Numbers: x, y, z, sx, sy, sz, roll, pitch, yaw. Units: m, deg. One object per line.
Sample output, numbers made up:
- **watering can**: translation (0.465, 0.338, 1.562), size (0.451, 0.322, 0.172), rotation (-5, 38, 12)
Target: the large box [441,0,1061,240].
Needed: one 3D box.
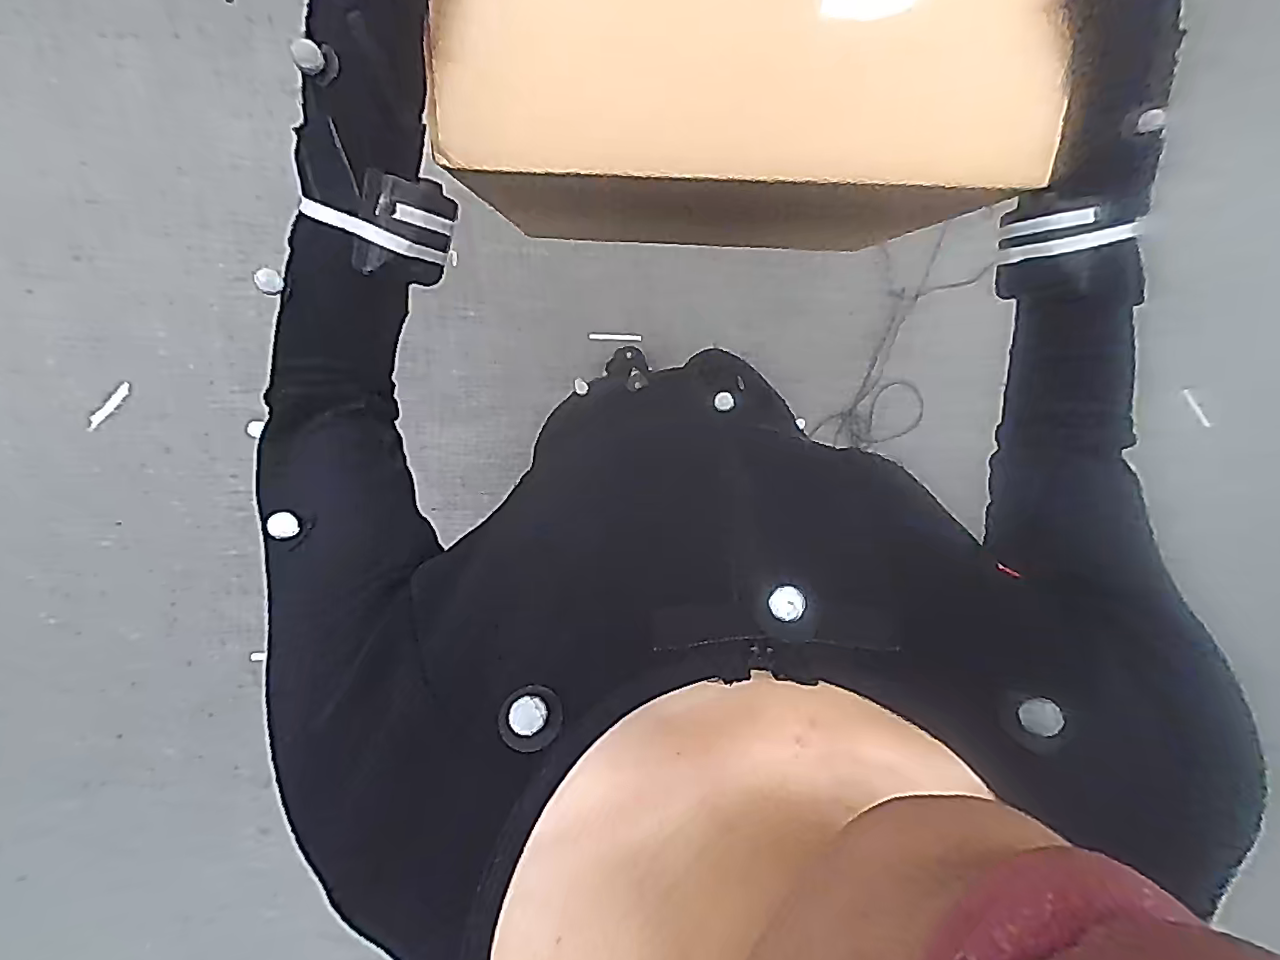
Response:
- **large box**: translation (0.068, -0.401, 0.471), size (0.408, 0.320, 0.320), rotation (1, 106, -2)
